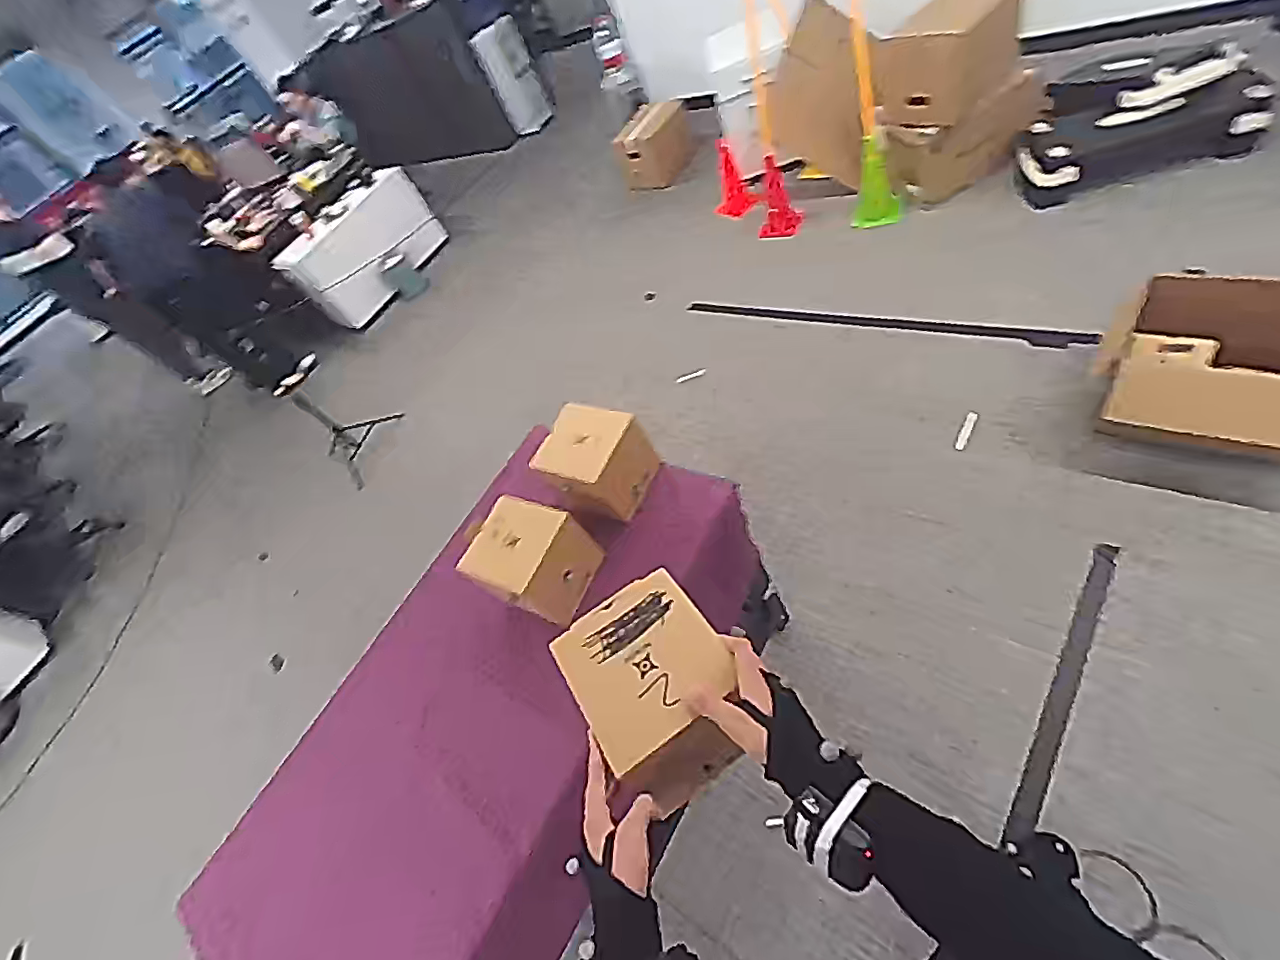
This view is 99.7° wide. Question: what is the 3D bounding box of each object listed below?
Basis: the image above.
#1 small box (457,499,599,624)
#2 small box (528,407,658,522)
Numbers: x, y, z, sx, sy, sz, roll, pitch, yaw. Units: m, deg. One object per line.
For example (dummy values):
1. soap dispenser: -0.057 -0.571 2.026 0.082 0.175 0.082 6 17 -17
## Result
1. small box: -0.209 0.163 1.054 0.179 0.176 0.168 11 63 33
2. small box: -0.093 -0.031 1.134 0.179 0.176 0.168 13 66 34
